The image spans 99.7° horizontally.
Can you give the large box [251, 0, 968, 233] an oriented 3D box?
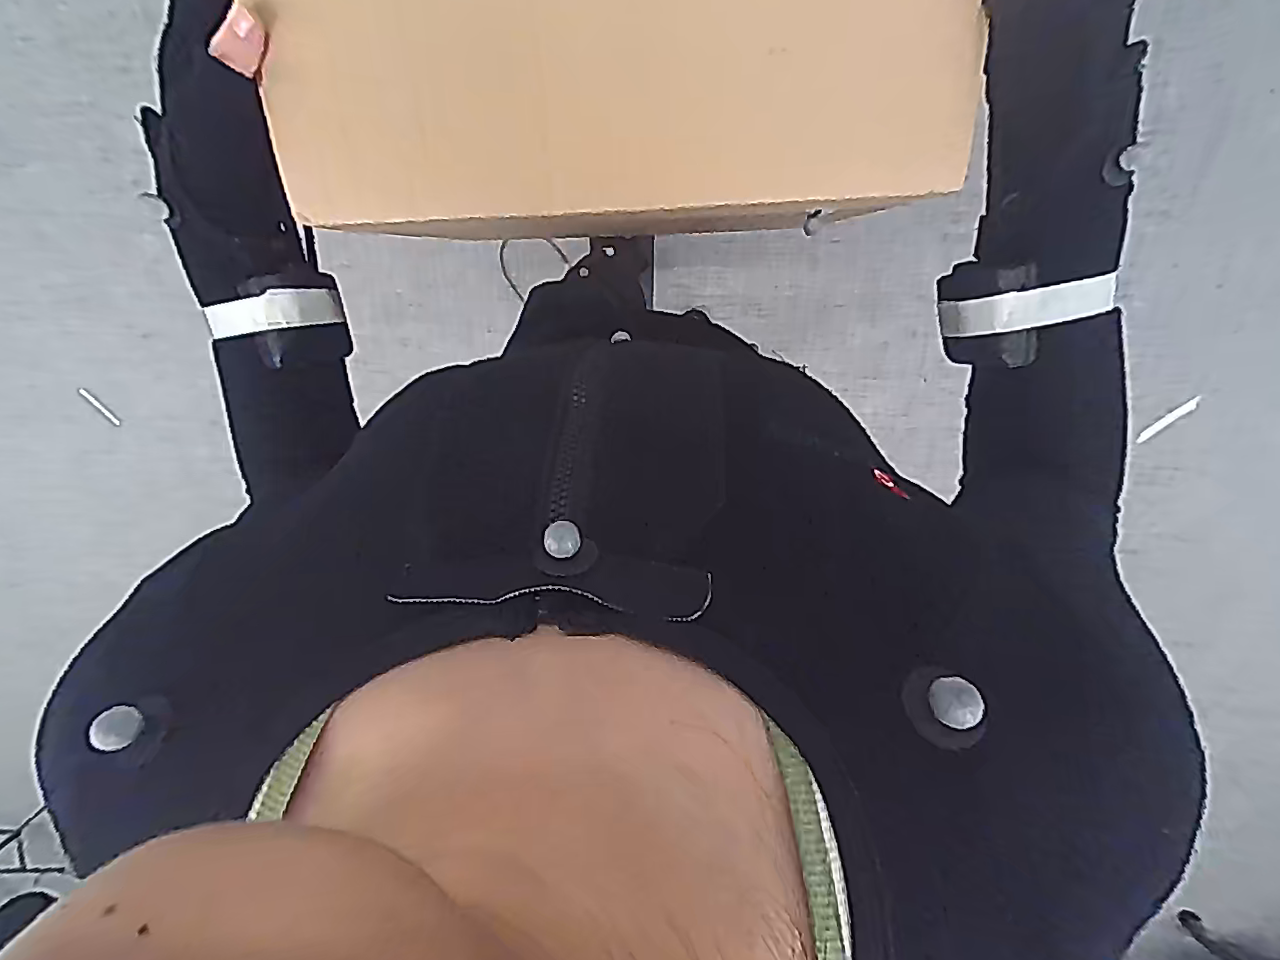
[{"bbox_3d":[-0.014,-0.372,0.416,0.408,0.320,0.320,-1,112,3],"label":"large box"}]
